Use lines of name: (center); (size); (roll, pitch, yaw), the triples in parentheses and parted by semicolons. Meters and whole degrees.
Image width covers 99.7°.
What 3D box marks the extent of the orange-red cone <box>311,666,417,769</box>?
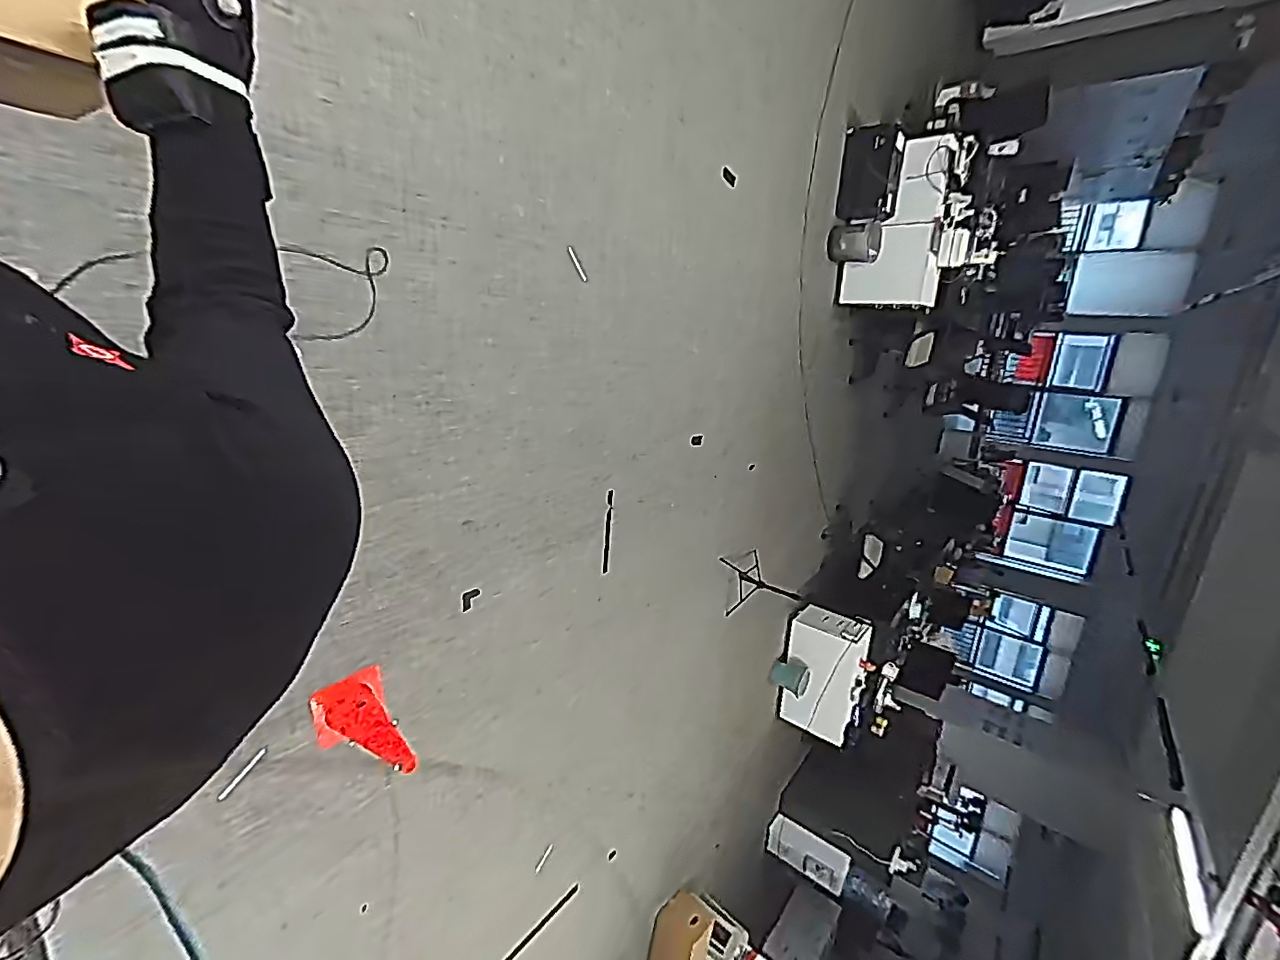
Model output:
orange-red cone: (-0.748, 0.715, 1.534); (0.198, 0.360, 0.199); (-20, 116, -49)

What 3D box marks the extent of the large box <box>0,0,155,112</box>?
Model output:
large box: (-0.566, -0.435, 0.267); (0.408, 0.320, 0.320); (-16, 120, -51)
